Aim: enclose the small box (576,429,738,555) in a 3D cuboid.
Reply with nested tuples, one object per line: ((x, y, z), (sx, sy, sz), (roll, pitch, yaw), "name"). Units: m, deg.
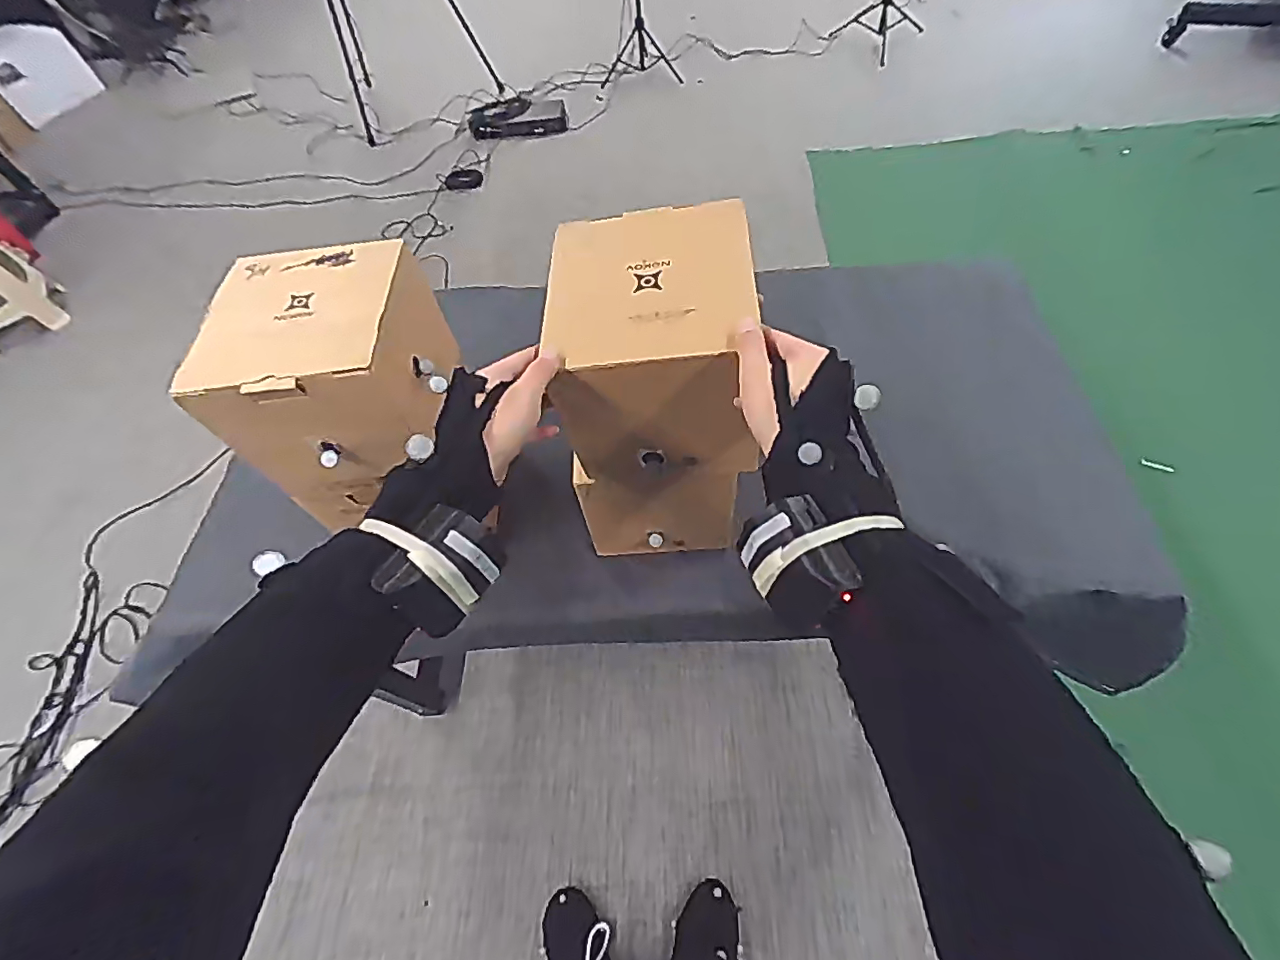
((0.021, -0.027, 0.649), (0.168, 0.176, 0.179), (-4, 56, 4), "small box")

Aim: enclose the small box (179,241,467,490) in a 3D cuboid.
((-0.285, -0.102, 0.537), (0.168, 0.176, 0.179), (-6, 57, 2), "small box")

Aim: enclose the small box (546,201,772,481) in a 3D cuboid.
((0.024, -0.118, 0.496), (0.168, 0.176, 0.179), (-5, 60, 8), "small box")

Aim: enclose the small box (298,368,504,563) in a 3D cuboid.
((-0.276, -0.014, 0.676), (0.168, 0.176, 0.179), (-5, 57, 2), "small box")
